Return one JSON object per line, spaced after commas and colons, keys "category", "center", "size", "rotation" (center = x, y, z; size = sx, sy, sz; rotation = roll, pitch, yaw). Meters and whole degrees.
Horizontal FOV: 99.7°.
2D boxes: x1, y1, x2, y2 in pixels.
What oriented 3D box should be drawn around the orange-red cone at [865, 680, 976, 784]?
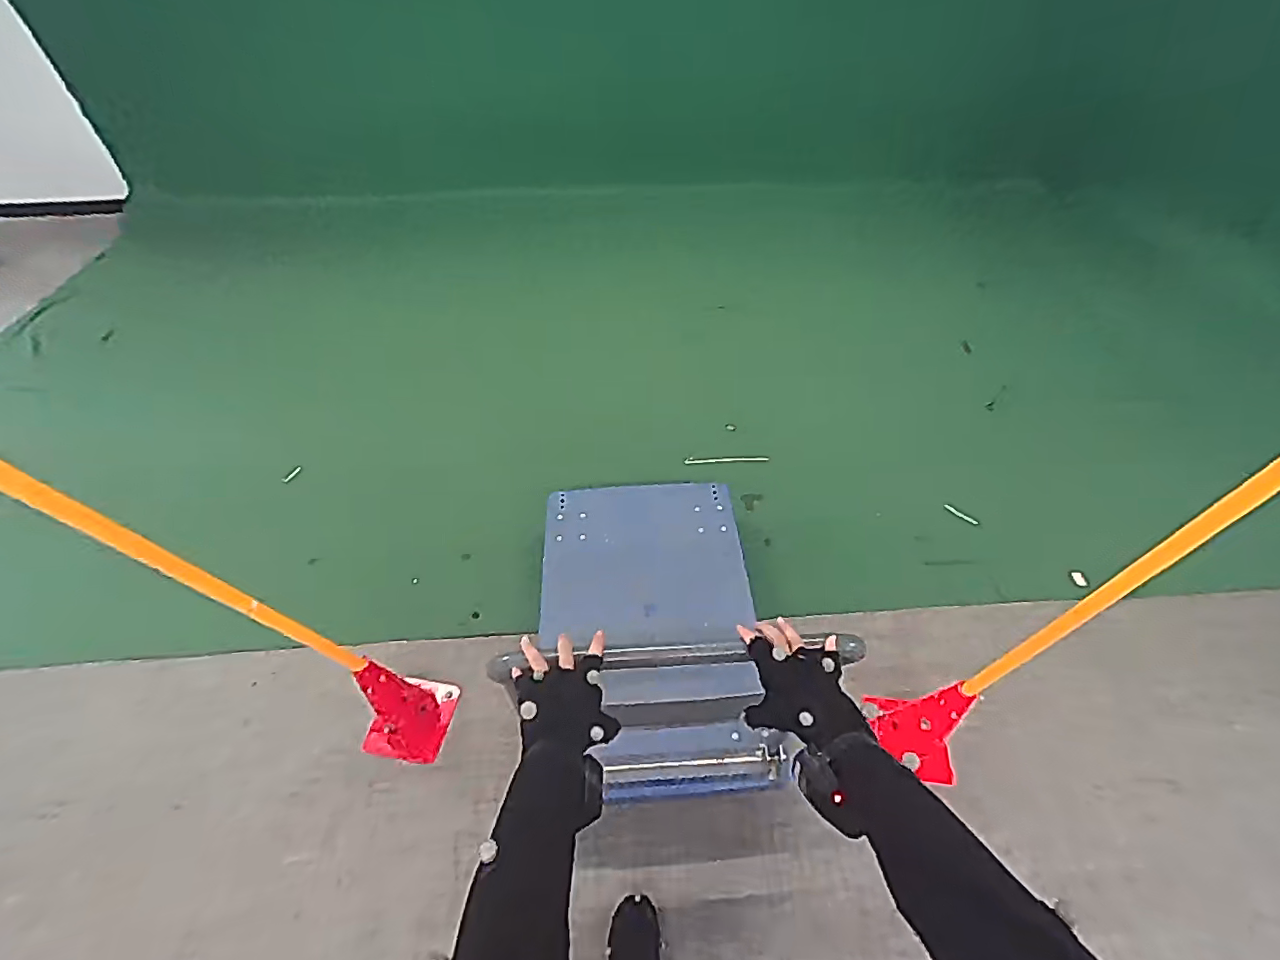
{"category": "orange-red cone", "center": [0.687, 0.552, 1.262], "size": [0.198, 0.360, 0.199], "rotation": [5, 50, 6]}
